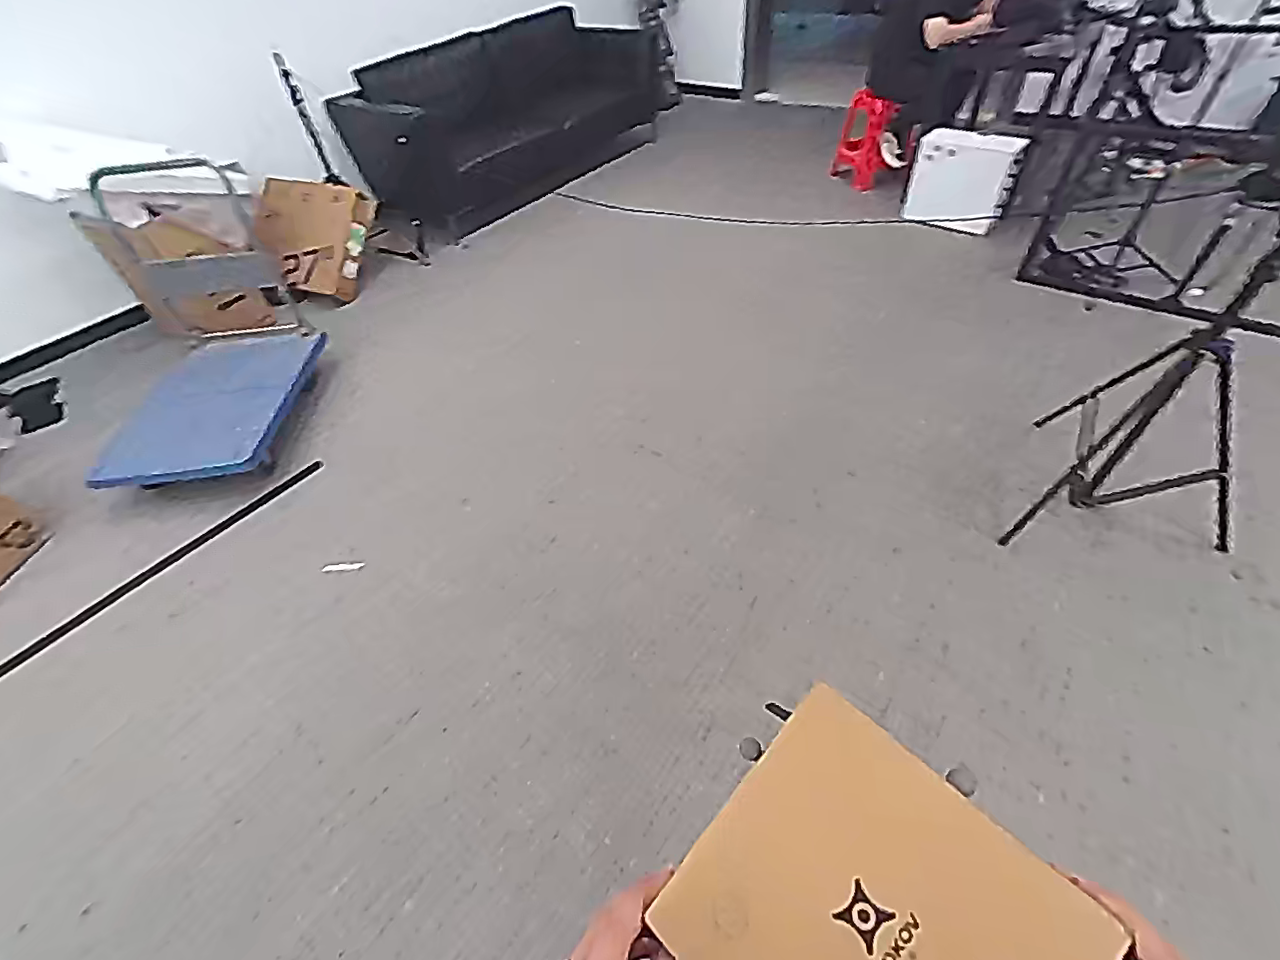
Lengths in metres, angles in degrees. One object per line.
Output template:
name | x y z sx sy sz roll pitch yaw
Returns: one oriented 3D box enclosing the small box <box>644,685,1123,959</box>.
small box | 0.129 0.263 0.346 0.179 0.176 0.168 37 77 24
